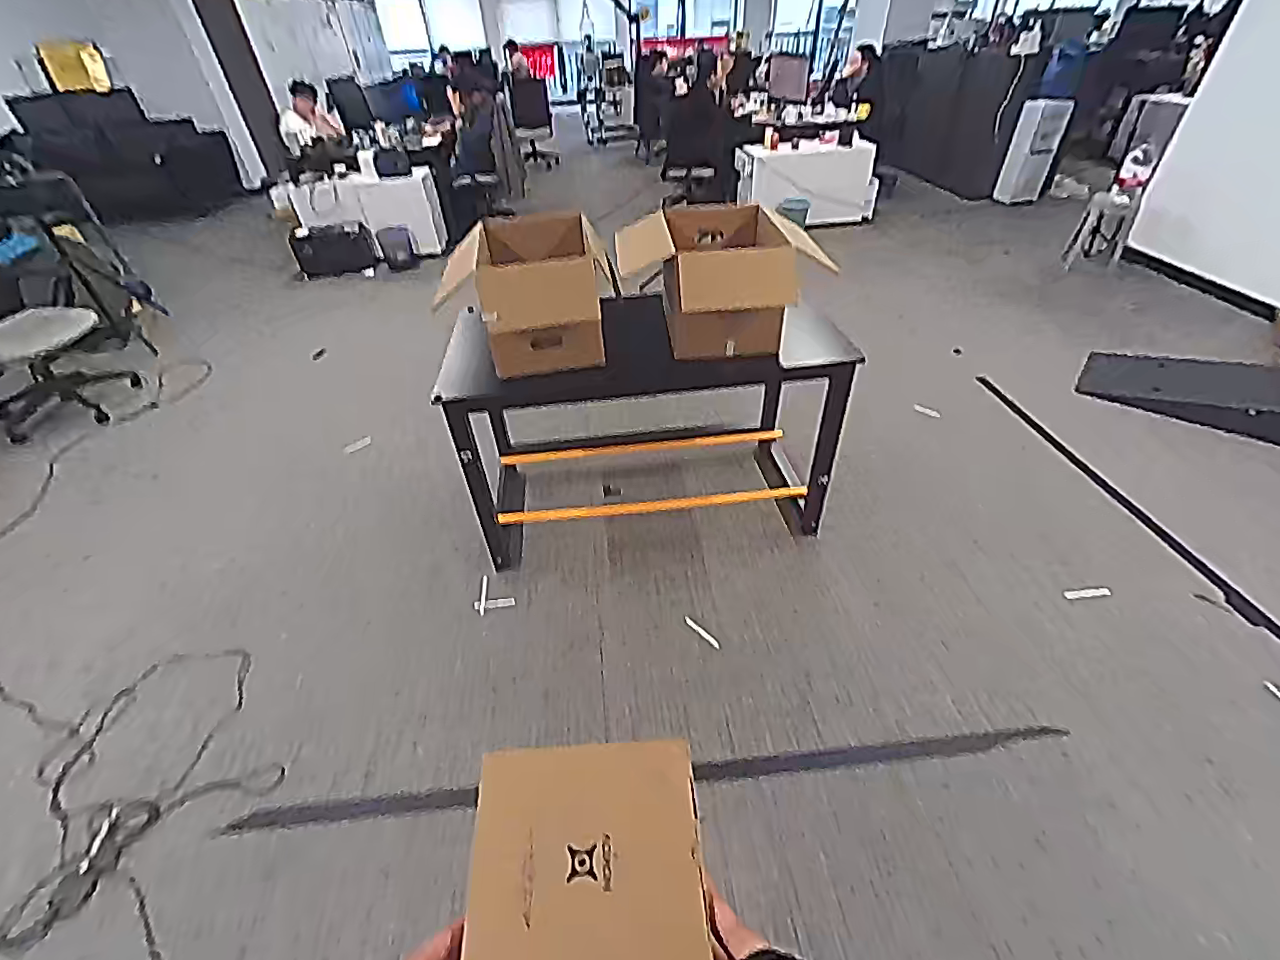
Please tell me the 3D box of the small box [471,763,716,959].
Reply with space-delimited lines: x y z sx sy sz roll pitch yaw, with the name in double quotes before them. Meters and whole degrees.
"small box" -0.036 0.362 0.470 0.179 0.176 0.168 -4 48 -2
